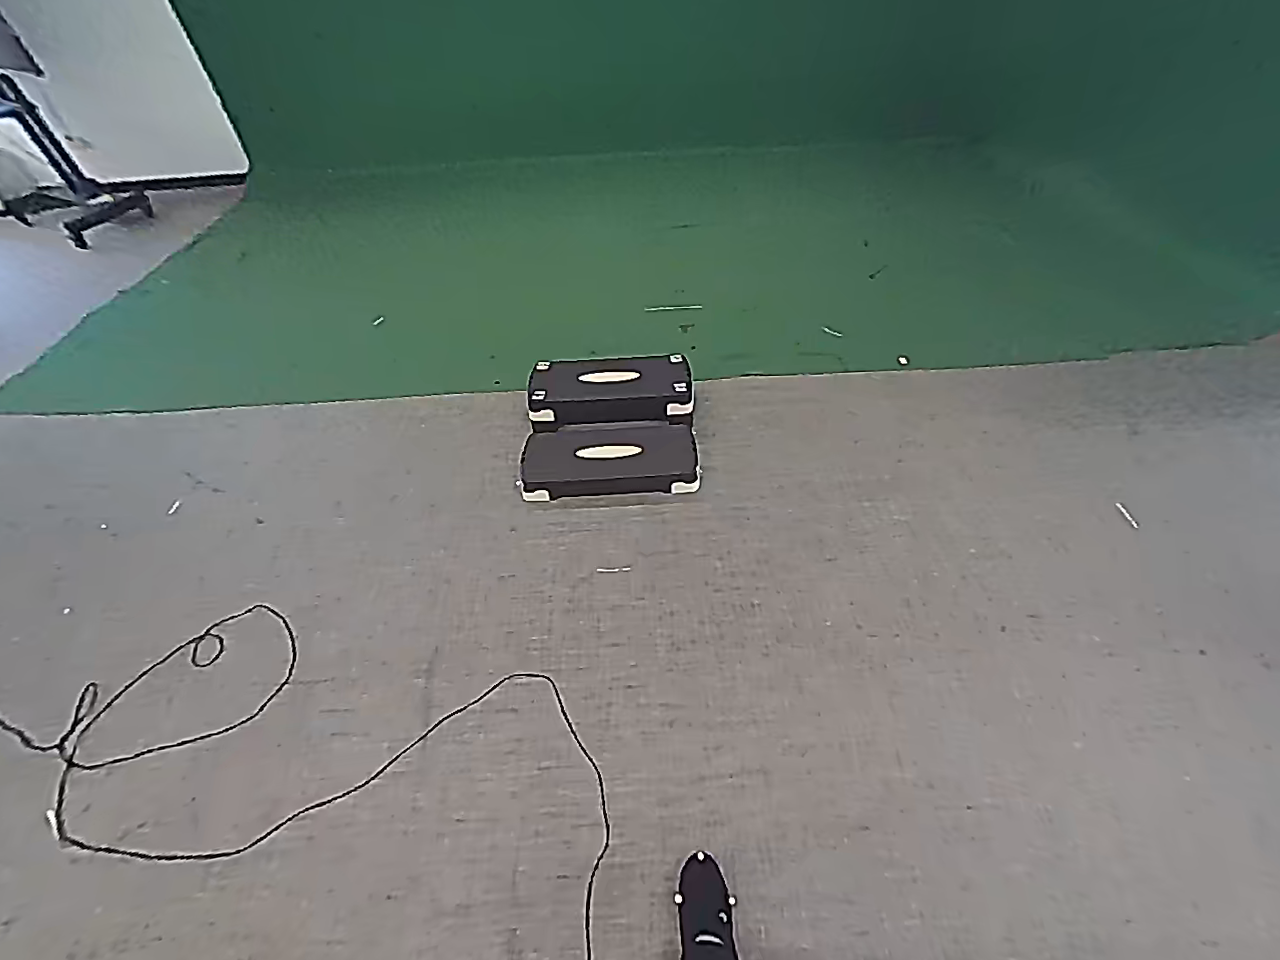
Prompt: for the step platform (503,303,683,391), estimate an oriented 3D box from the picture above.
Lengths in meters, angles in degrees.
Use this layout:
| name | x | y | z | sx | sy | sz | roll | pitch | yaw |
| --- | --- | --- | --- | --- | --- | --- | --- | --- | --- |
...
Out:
| name | x | y | z | sx | sy | sz | roll | pitch | yaw |
| --- | --- | --- | --- | --- | --- | --- | --- | --- | --- |
| step platform | -0.174 | -0.521 | 2.123 | 0.684 | 0.204 | 0.286 | -4 | 48 | 1 |
